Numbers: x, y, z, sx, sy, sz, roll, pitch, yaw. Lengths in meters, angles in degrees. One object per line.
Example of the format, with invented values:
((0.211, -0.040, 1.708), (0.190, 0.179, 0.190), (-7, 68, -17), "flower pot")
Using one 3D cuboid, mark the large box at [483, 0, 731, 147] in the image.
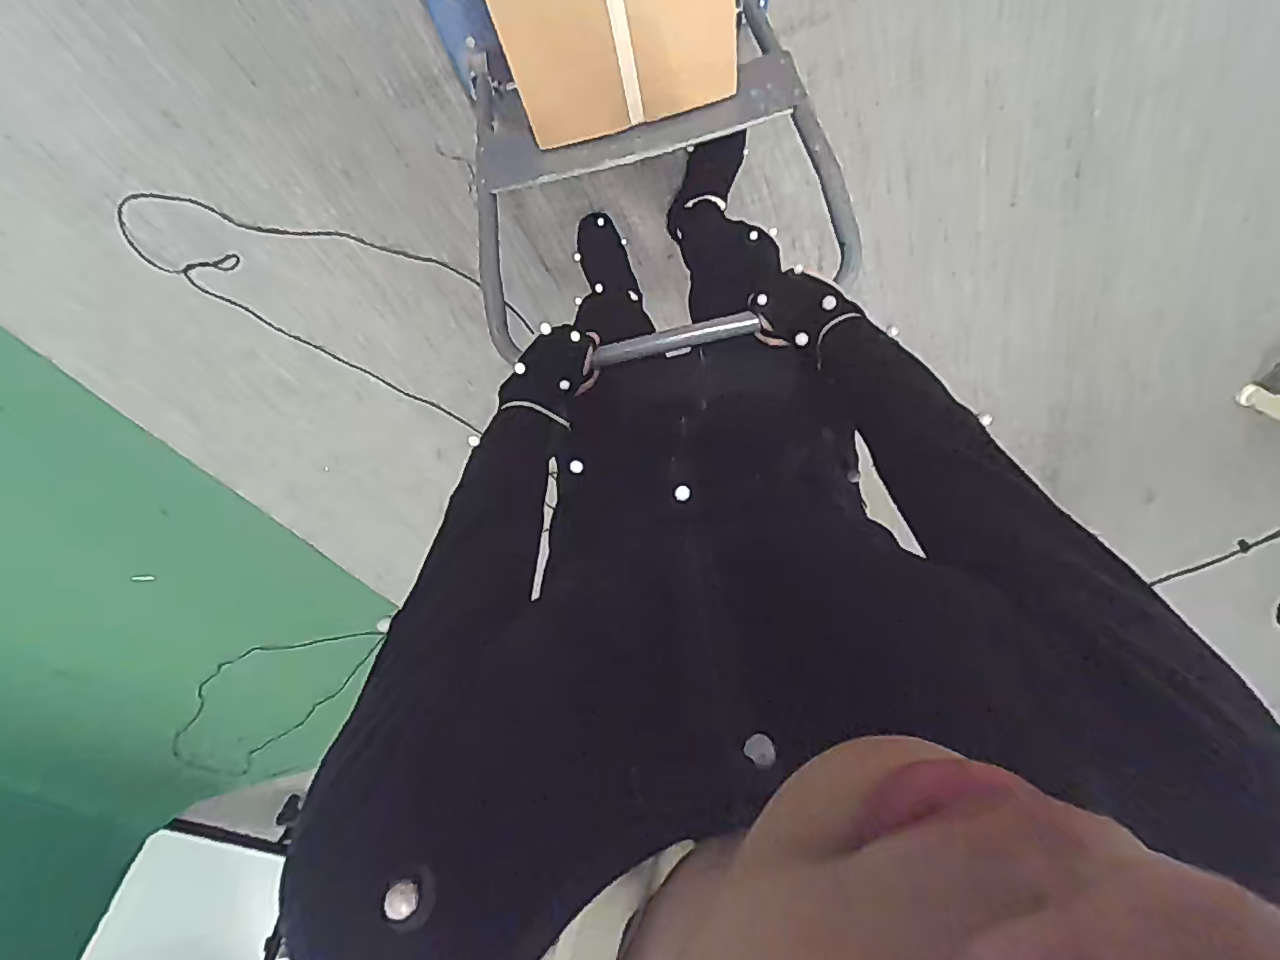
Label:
((-0.068, -0.774, 0.738), (0.320, 0.320, 0.408), (-12, 153, 7), "large box")
